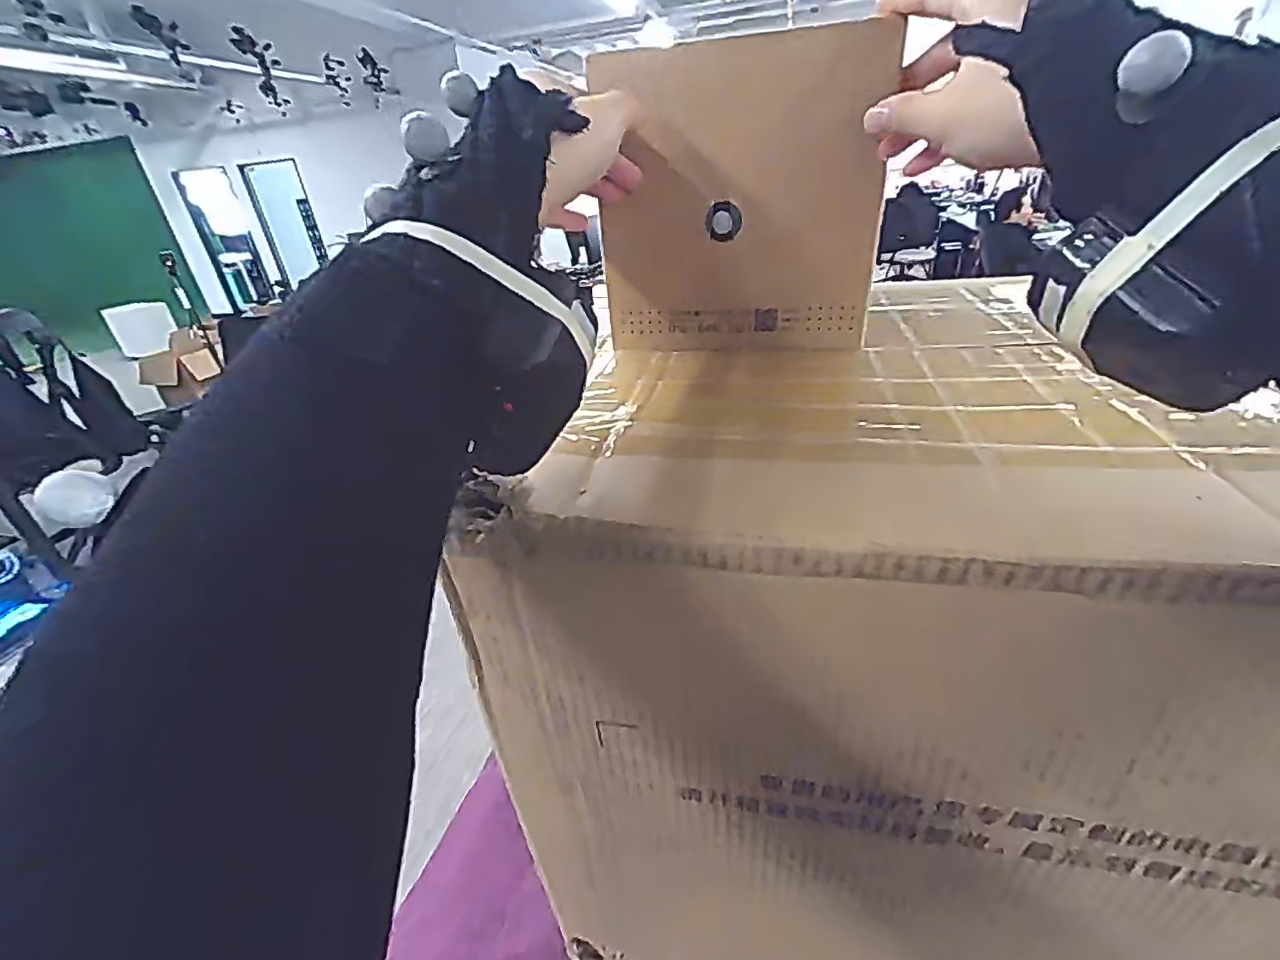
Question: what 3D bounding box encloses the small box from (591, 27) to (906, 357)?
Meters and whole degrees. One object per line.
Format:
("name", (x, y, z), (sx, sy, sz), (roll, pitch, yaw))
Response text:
("small box", (0.075, -0.194, 0.389), (0.168, 0.176, 0.179), (3, 32, 12))
